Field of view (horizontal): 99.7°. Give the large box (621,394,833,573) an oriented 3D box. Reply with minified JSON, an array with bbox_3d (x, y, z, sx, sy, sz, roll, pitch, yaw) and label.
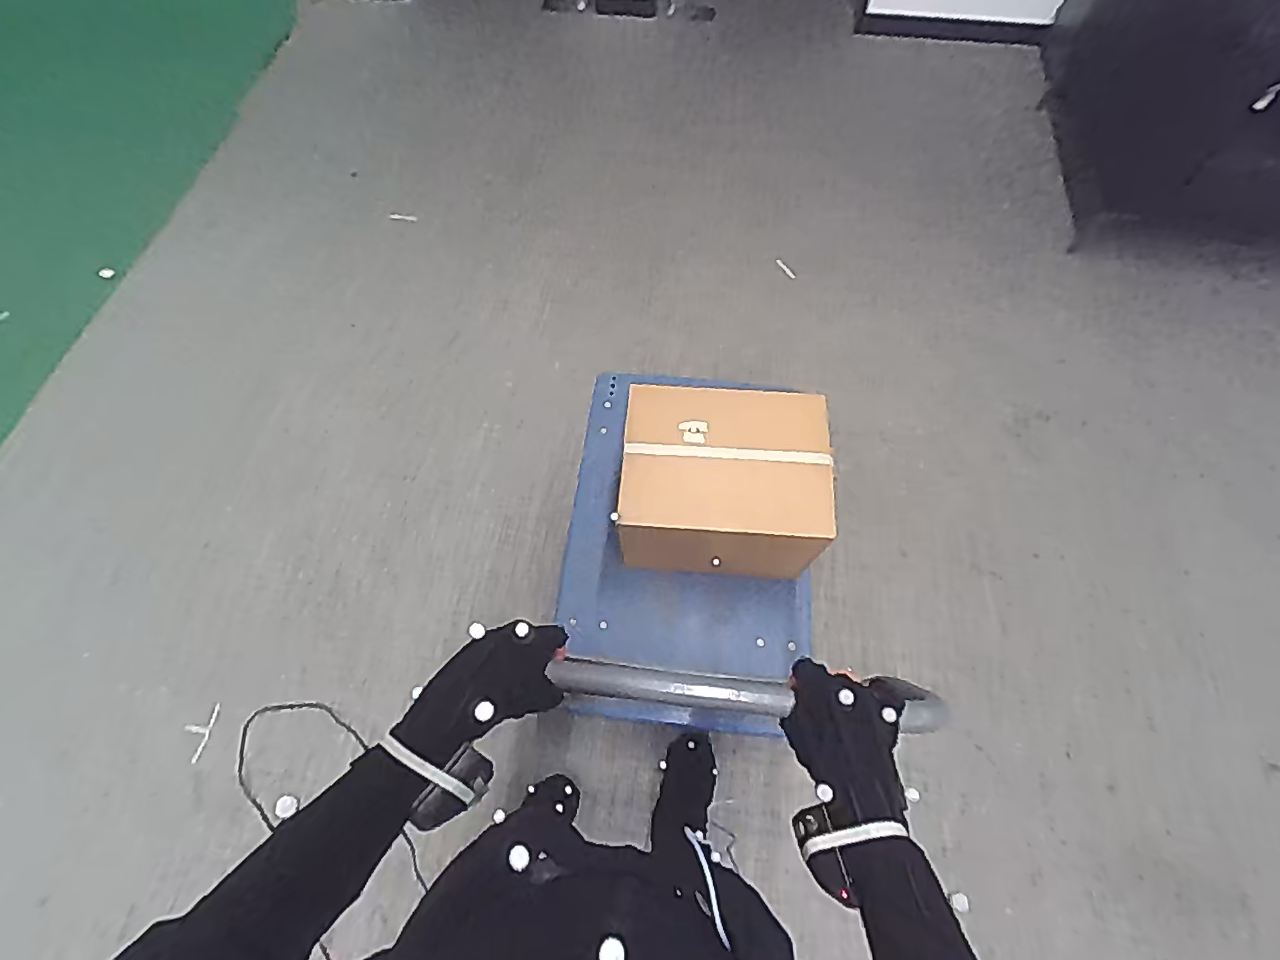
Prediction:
[{"bbox_3d":[0.177,0.020,1.207,0.408,0.320,0.320,2,66,4],"label":"large box"}]
